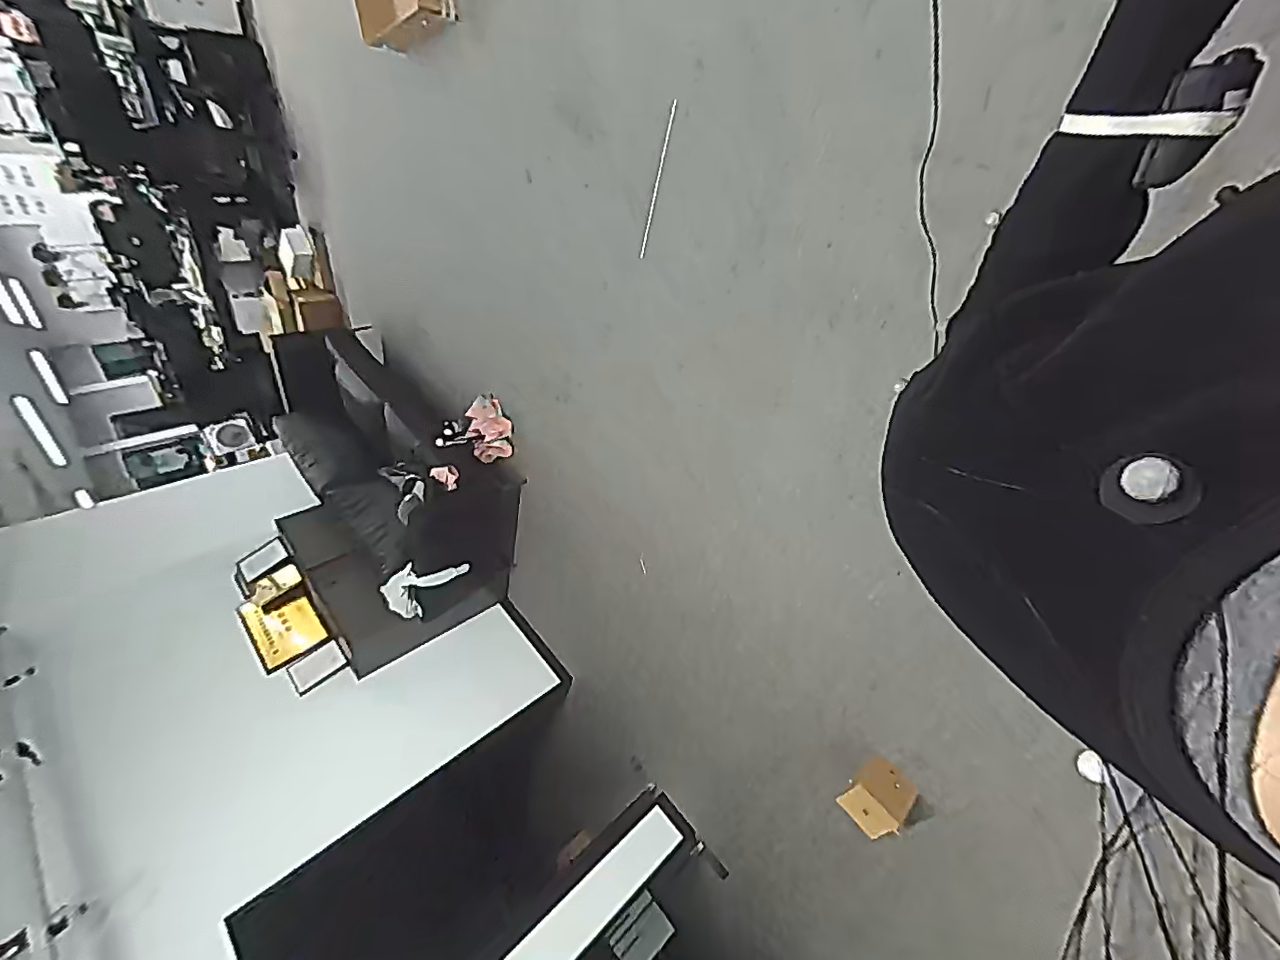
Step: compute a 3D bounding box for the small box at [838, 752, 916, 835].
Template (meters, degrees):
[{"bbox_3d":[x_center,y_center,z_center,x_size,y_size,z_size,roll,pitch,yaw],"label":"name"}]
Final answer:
[{"bbox_3d":[0.857,1.126,1.948,0.168,0.176,0.179,43,136,25],"label":"small box"}]
